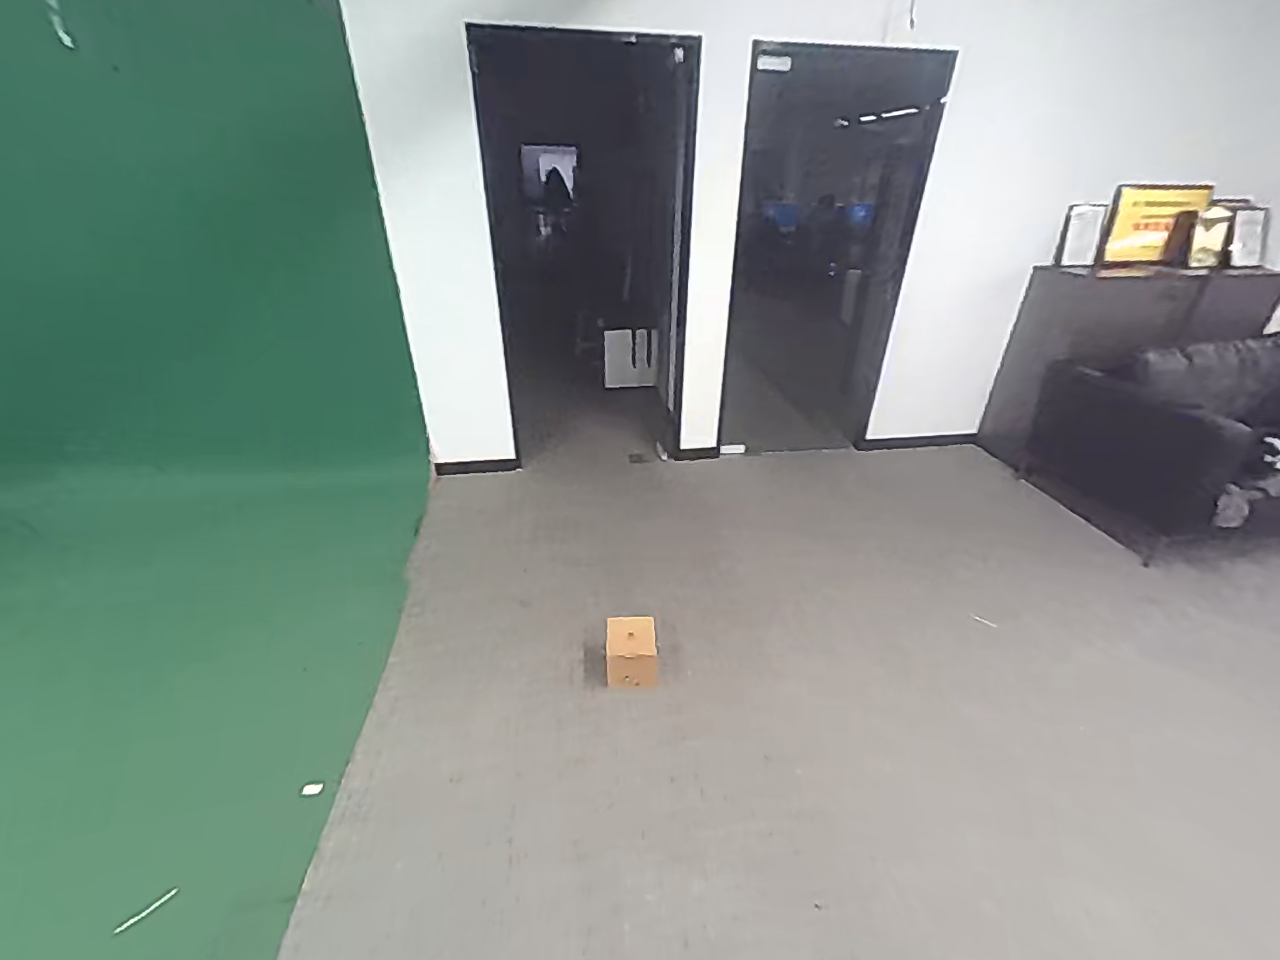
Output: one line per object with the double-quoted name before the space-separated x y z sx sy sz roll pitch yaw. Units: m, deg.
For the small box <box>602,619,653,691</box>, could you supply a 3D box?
"small box" -0.046 0.606 1.880 0.168 0.176 0.179 0 30 -3
